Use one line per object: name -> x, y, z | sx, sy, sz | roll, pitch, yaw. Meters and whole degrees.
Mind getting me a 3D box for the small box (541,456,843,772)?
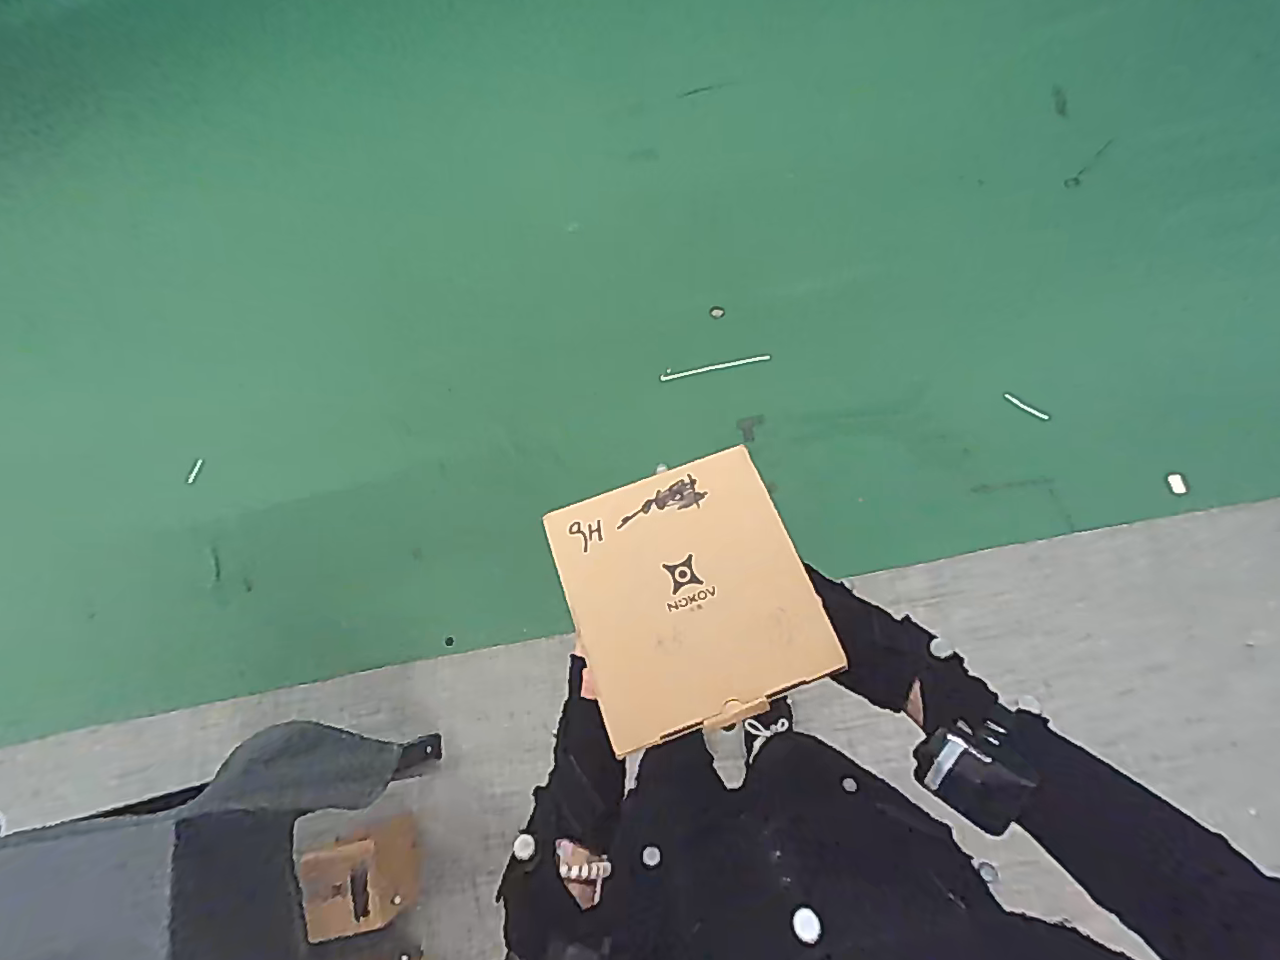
small box -> 0.035, 0.108, 0.449 | 0.168, 0.176, 0.179 | -20, 71, -4
